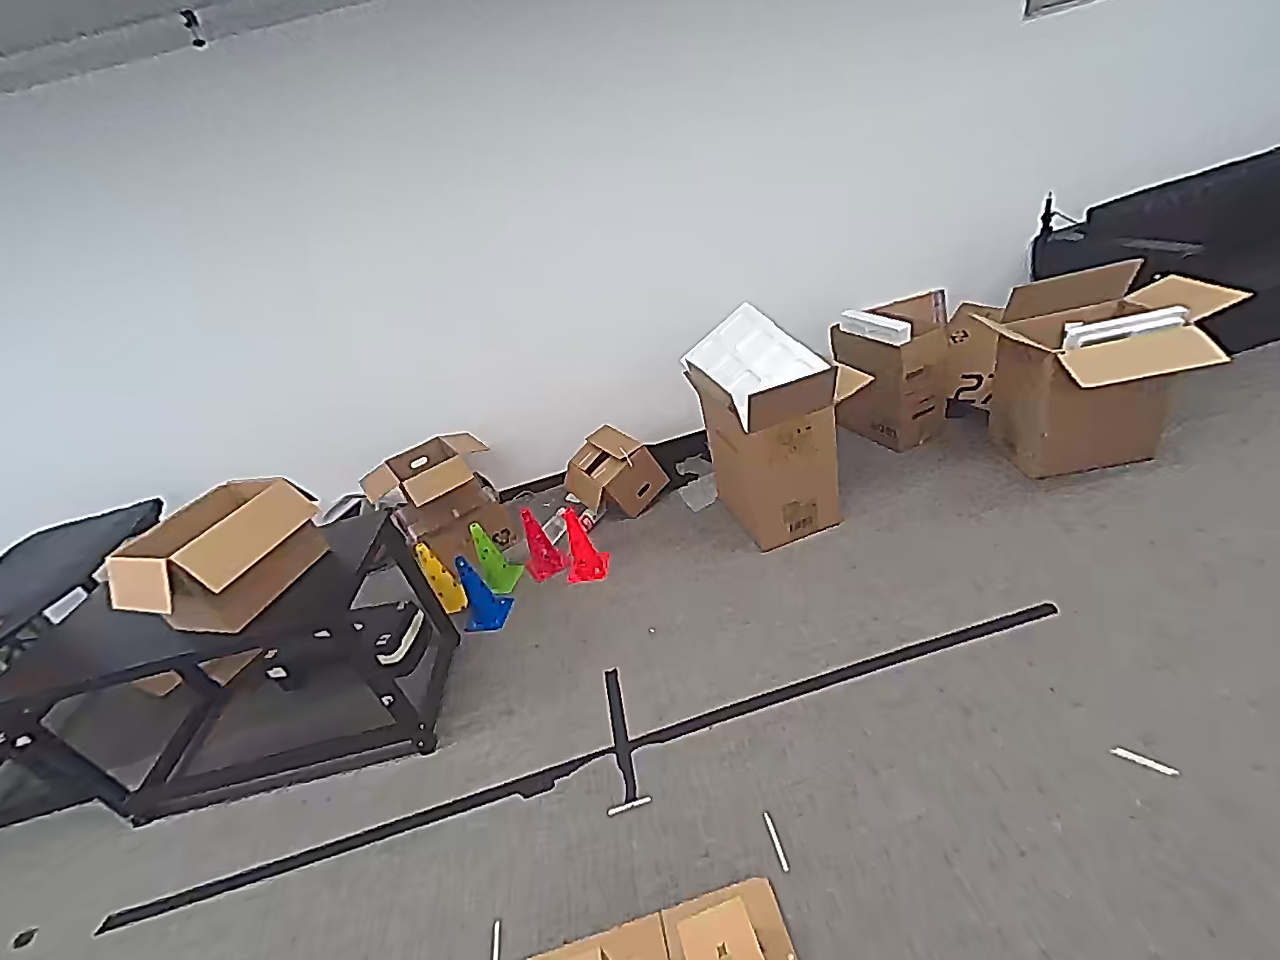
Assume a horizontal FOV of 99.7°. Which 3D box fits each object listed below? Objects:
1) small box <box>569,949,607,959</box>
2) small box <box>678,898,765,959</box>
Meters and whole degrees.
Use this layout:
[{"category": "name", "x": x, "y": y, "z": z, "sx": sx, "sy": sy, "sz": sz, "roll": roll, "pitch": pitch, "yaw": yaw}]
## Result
[{"category": "small box", "x": -0.129, "y": 1.202, "z": 1.198, "sx": 0.168, "sy": 0.176, "sz": 0.179, "roll": -18, "pitch": 31, "yaw": -3}, {"category": "small box", "x": 0.200, "y": 1.106, "z": 1.219, "sx": 0.168, "sy": 0.176, "sz": 0.179, "roll": -19, "pitch": 30, "yaw": -7}]
